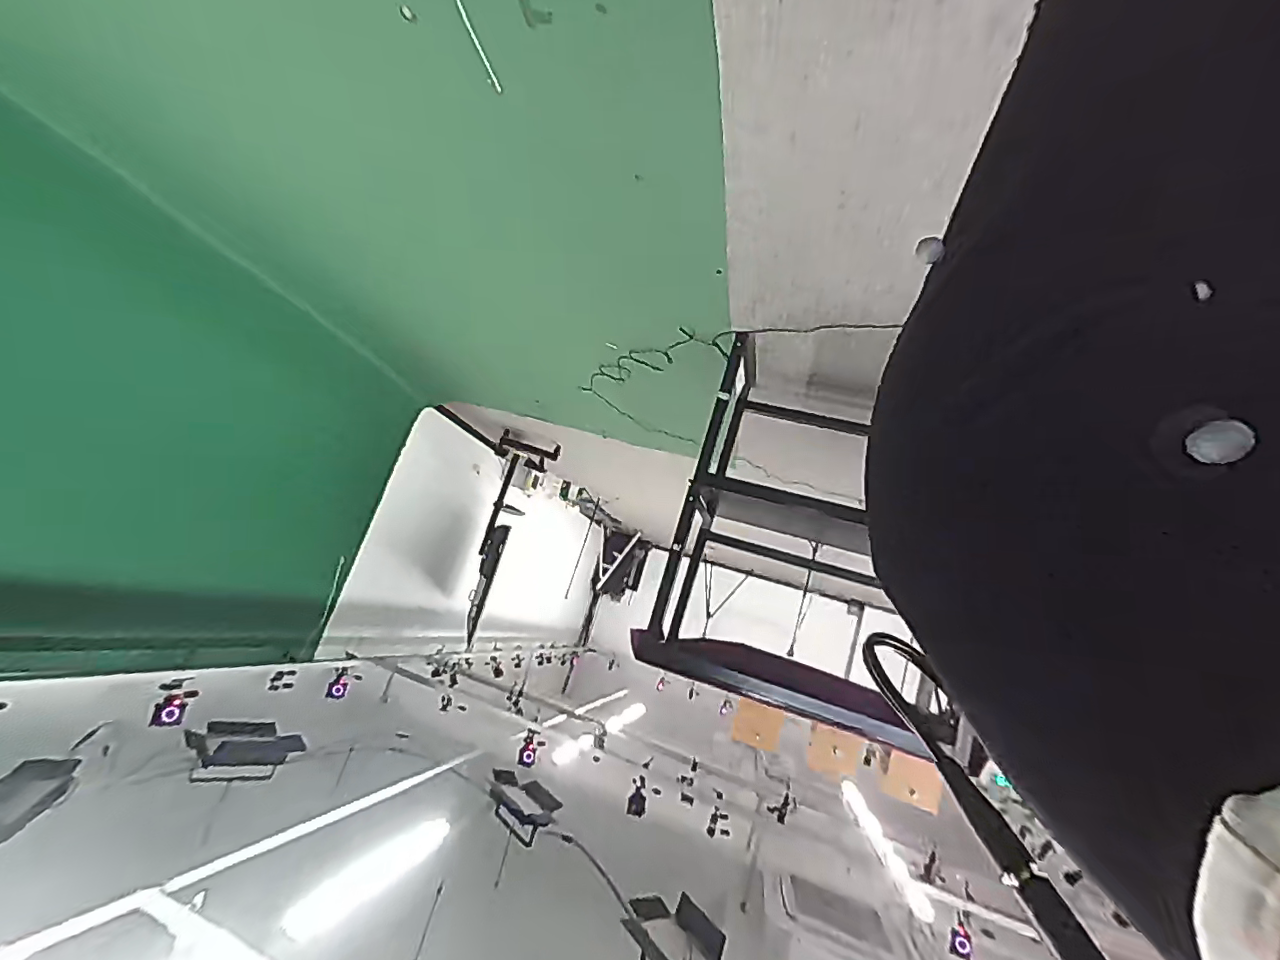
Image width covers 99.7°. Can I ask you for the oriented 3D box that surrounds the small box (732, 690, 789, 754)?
[{"bbox_3d":[0.457,0.911,2.054,0.179,0.176,0.168,13,168,15],"label":"small box"}]

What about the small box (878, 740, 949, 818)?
[{"bbox_3d":[0.962,1.044,1.906,0.179,0.176,0.168,15,168,17],"label":"small box"}]

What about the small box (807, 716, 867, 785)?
[{"bbox_3d":[0.719,0.981,1.978,0.168,0.176,0.179,15,168,16],"label":"small box"}]
